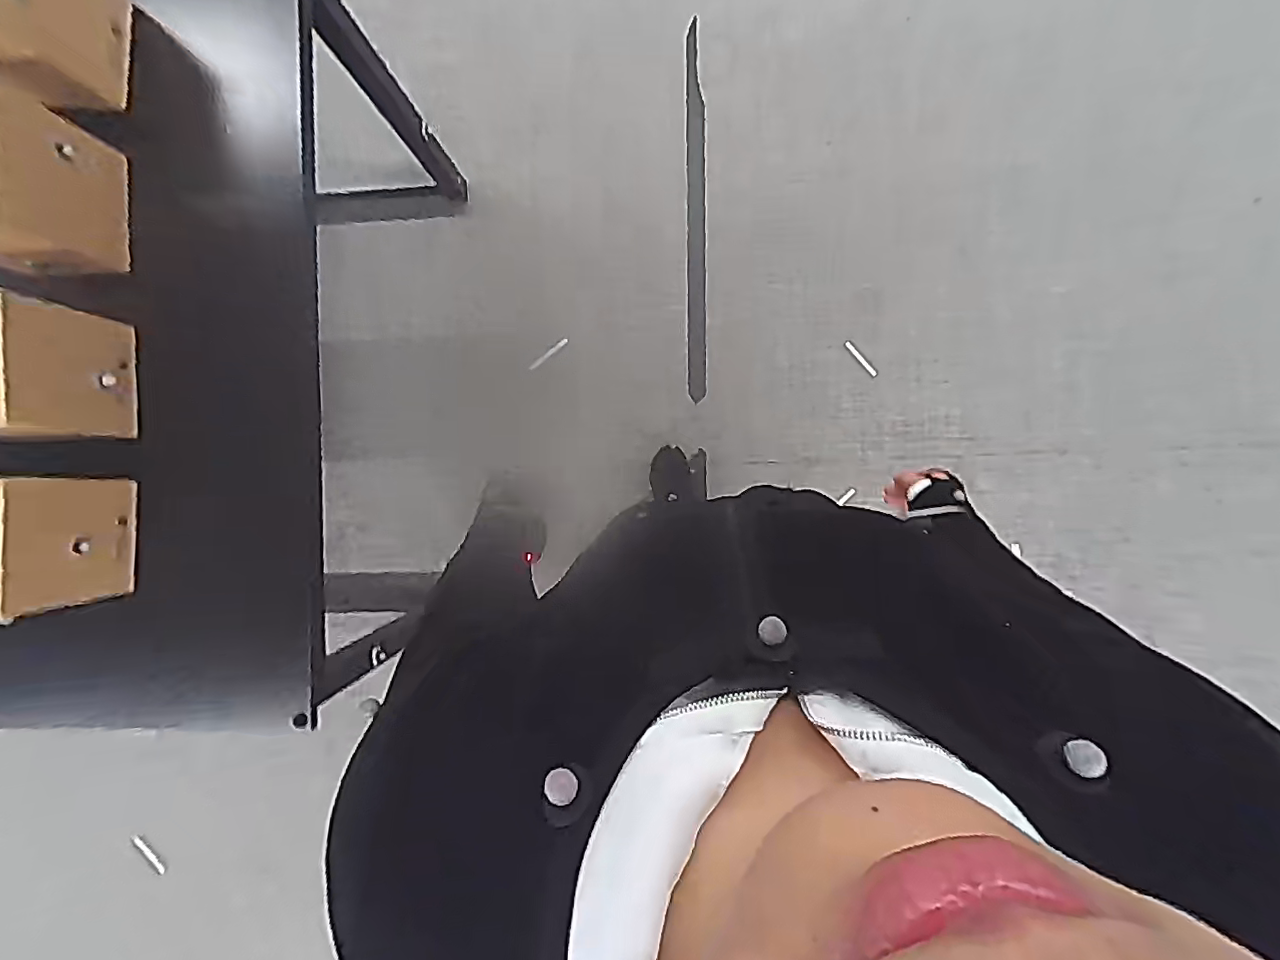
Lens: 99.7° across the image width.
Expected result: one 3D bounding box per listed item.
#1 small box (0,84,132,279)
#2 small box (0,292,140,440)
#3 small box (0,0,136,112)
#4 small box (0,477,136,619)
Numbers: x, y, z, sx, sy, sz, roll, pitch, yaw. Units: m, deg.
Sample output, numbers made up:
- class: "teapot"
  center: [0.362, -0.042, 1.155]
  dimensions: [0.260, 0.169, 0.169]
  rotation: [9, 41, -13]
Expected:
- class: "small box"
  center: [-0.843, -0.391, 0.732]
  dimensions: [0.168, 0.176, 0.179]
  rotation: [-1, 91, 4]
- class: "small box"
  center: [-0.839, -0.143, 0.731]
  dimensions: [0.179, 0.176, 0.168]
  rotation: [-1, 90, 2]
- class: "small box"
  center: [-0.846, -0.632, 0.728]
  dimensions: [0.179, 0.176, 0.168]
  rotation: [4, 91, 4]
- class: "small box"
  center: [-0.839, 0.082, 0.732]
  dimensions: [0.179, 0.176, 0.168]
  rotation: [2, 90, 3]
